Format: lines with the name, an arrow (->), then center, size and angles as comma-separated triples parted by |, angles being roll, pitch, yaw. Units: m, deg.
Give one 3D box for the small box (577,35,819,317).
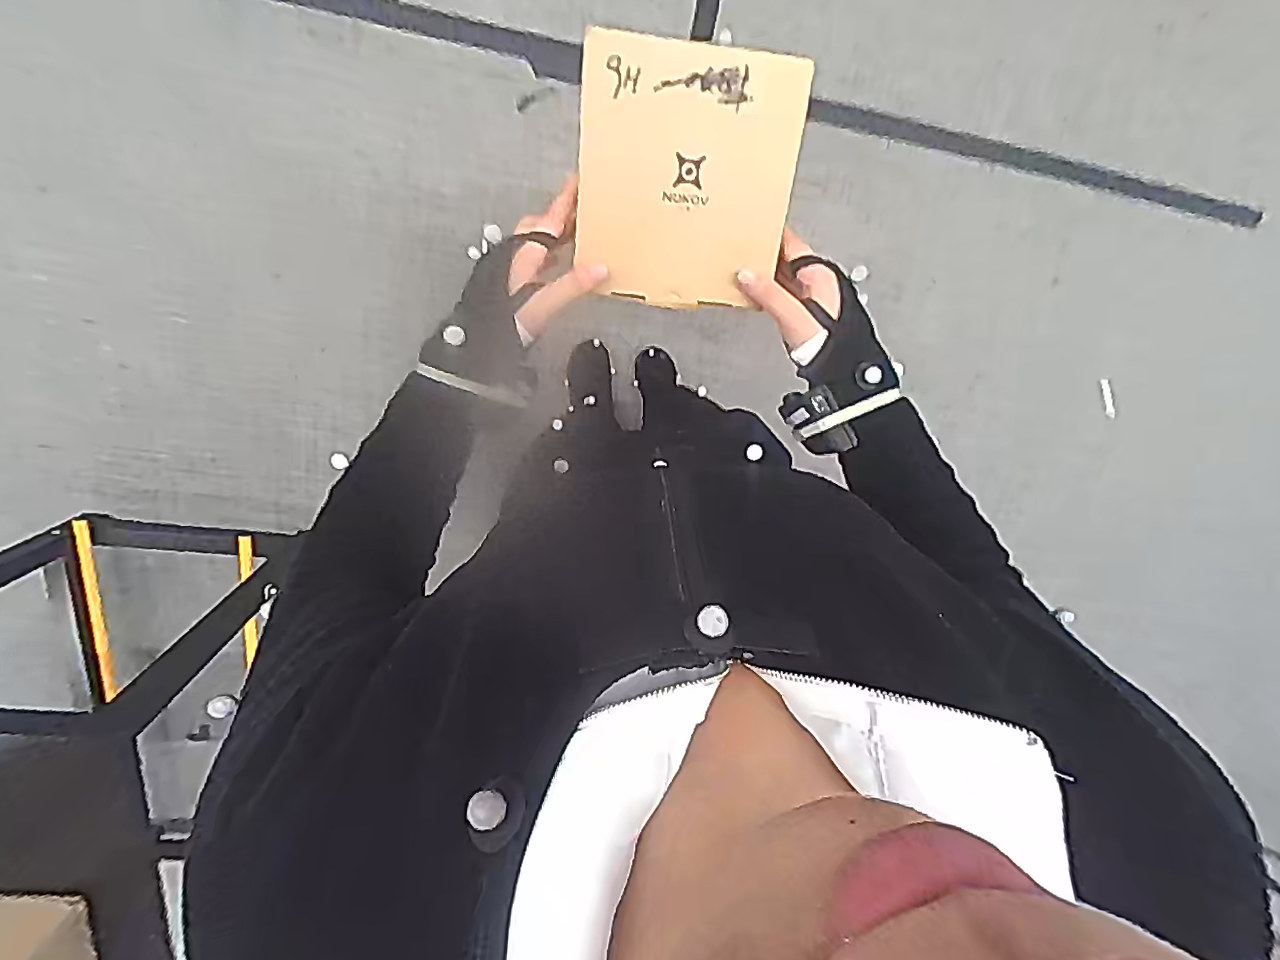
small box -> 0.034, -0.258, 0.483 | 0.168, 0.176, 0.179 | 3, 118, -6
